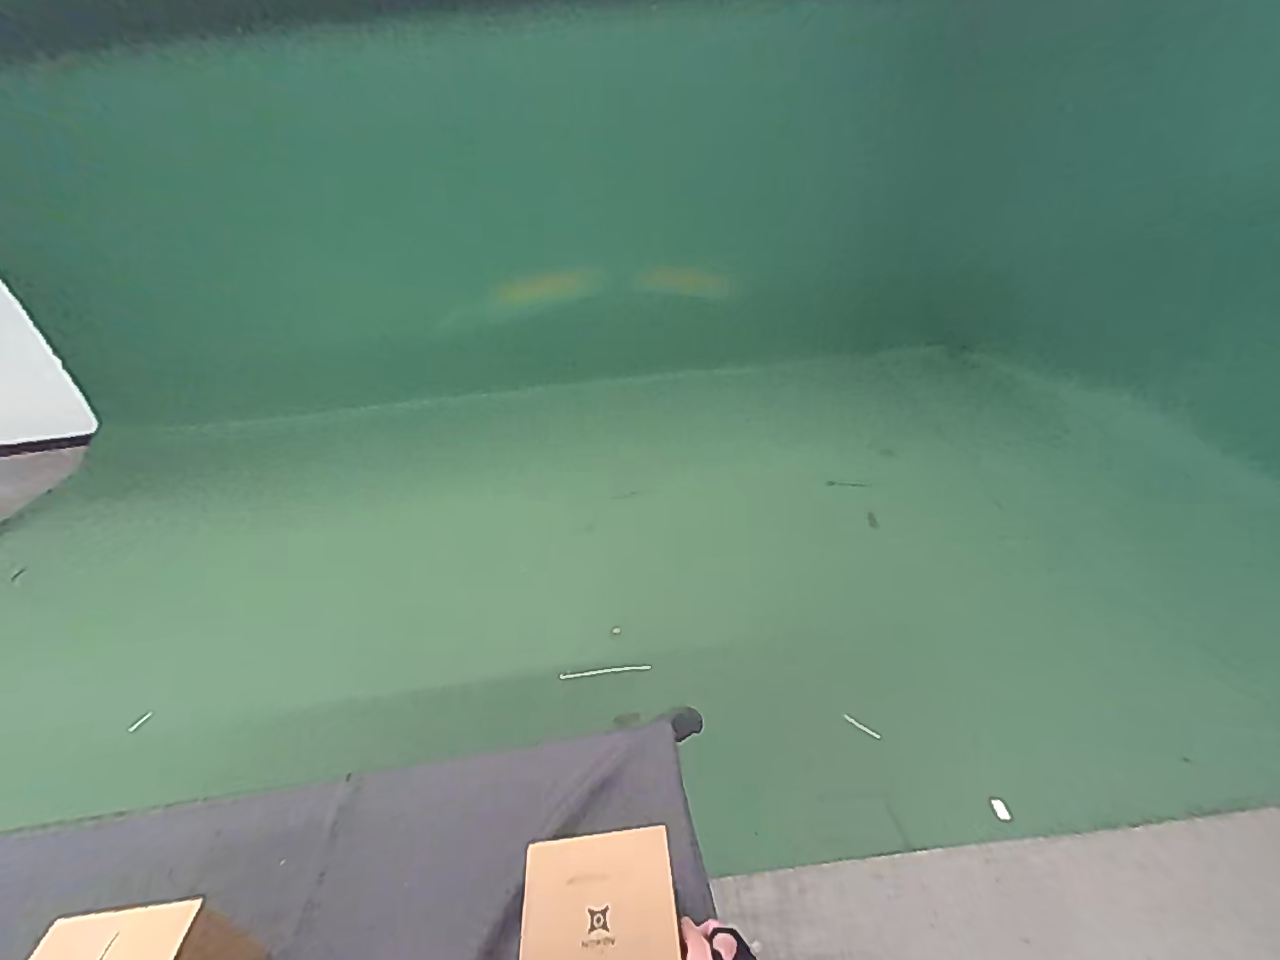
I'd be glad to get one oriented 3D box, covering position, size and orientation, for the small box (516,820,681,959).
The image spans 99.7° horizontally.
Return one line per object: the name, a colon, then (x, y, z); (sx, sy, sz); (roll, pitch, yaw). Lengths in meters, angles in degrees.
small box: (-0.039, 0.524, 0.610); (0.168, 0.176, 0.179); (-6, 34, -2)
